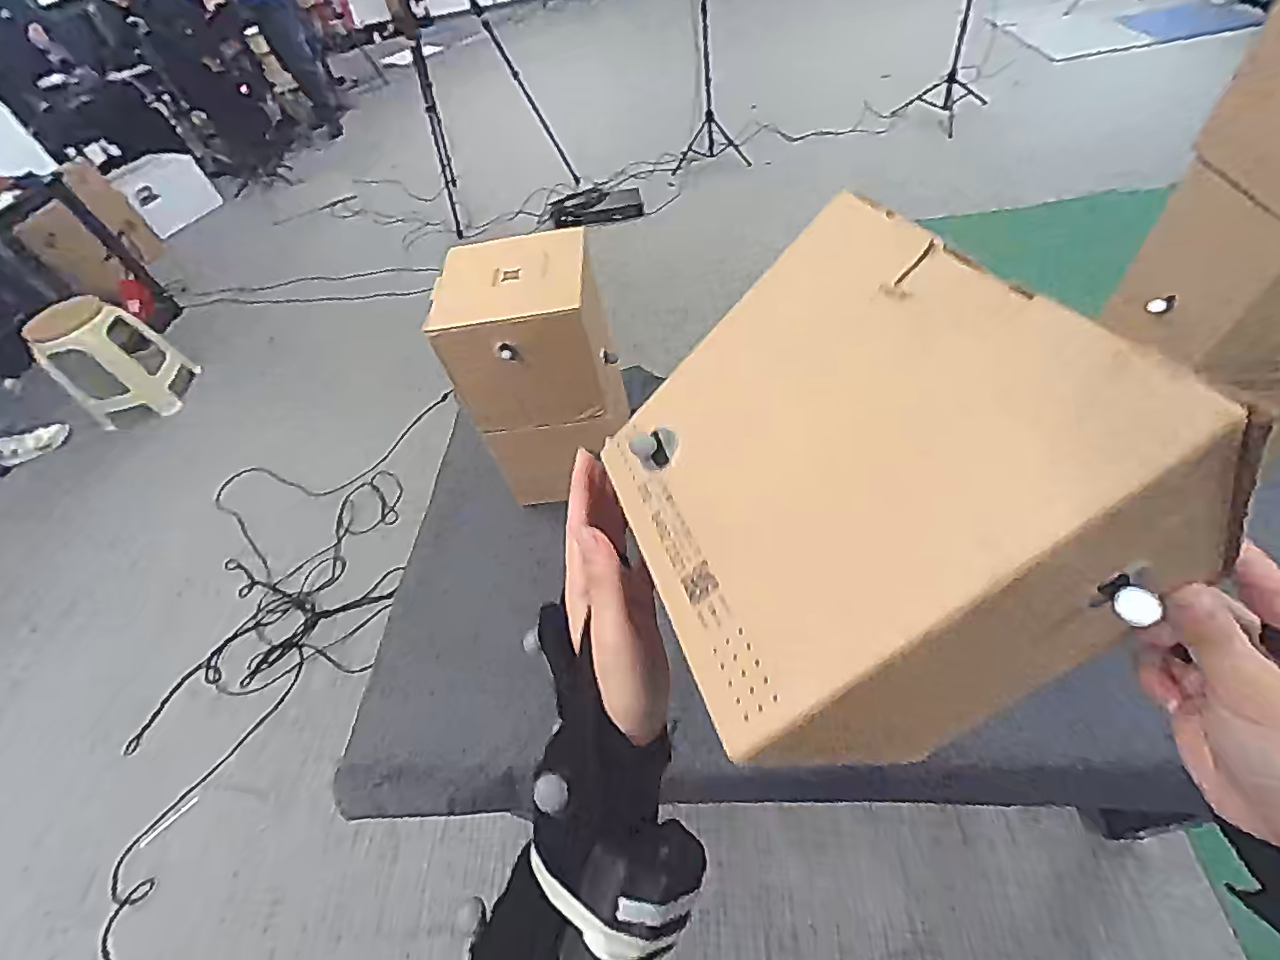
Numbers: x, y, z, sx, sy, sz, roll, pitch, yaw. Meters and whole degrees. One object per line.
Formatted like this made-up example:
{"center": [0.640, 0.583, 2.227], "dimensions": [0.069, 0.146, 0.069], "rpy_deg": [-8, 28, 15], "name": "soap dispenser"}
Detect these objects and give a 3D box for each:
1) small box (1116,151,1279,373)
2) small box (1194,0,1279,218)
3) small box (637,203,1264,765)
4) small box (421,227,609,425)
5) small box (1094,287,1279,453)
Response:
{"center": [0.651, -0.223, 0.552], "dimensions": [0.168, 0.176, 0.179], "rpy_deg": [-2, 54, 10], "name": "small box"}
{"center": [0.618, -0.322, 0.423], "dimensions": [0.168, 0.176, 0.179], "rpy_deg": [-3, 52, 9], "name": "small box"}
{"center": [0.119, 0.017, 0.259], "dimensions": [0.176, 0.179, 0.168], "rpy_deg": [-45, 44, 21], "name": "small box"}
{"center": [-0.140, -0.185, 0.678], "dimensions": [0.179, 0.176, 0.168], "rpy_deg": [-6, 54, 4], "name": "small box"}
{"center": [0.680, -0.128, 0.682], "dimensions": [0.168, 0.176, 0.179], "rpy_deg": [-2, 53, 10], "name": "small box"}
